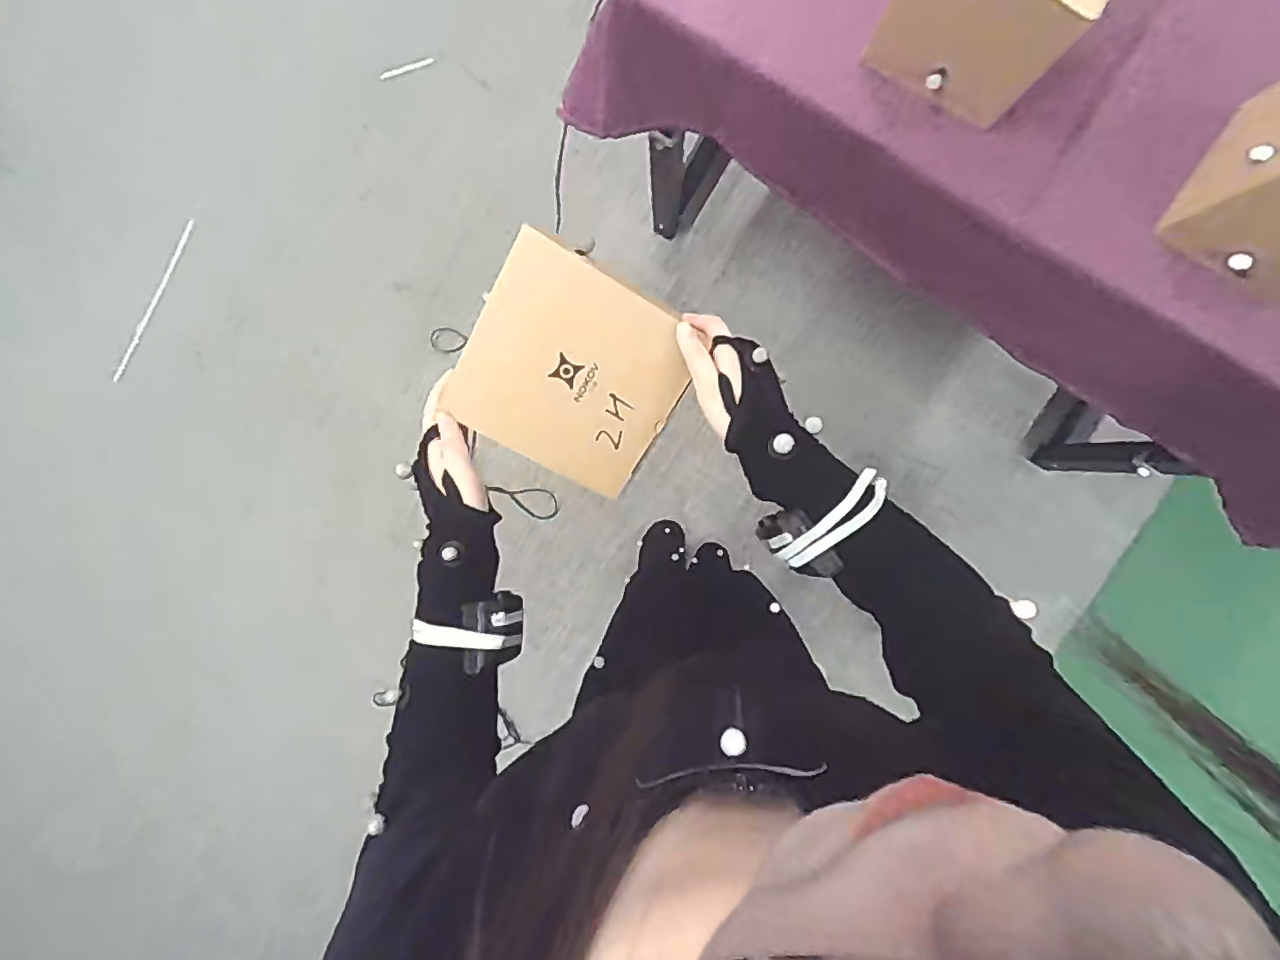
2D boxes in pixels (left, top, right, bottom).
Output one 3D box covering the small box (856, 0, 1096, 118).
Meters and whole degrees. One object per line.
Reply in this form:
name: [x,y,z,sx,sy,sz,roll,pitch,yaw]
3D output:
small box: [0.367,-0.530,0.568,0.179,0.176,0.168,29,93,0]
